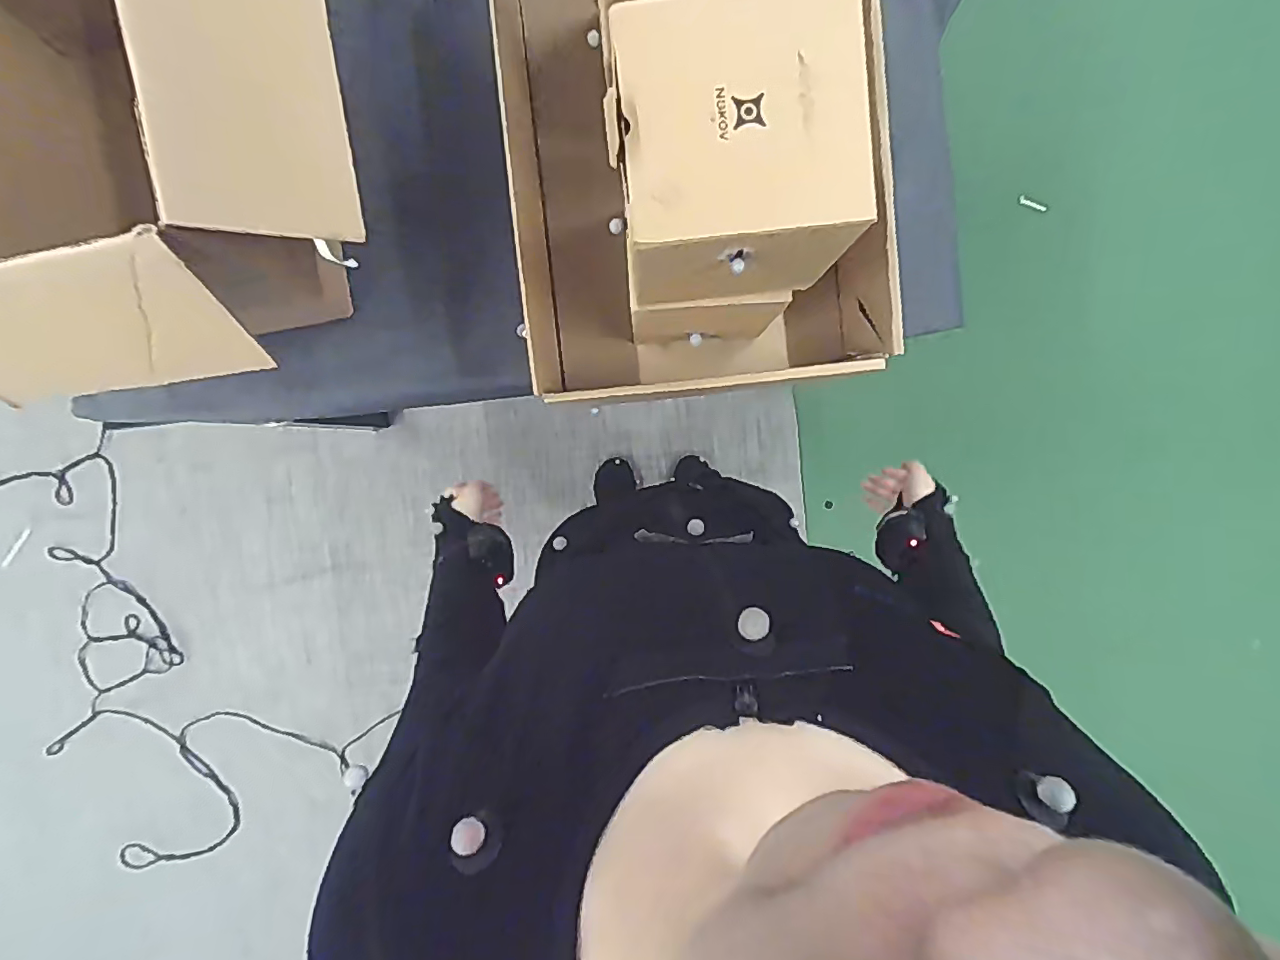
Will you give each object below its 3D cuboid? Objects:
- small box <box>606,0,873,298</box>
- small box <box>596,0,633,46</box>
[{"bbox_3d":[0.072,-0.262,0.457,0.179,0.176,0.168,-6,94,1],"label":"small box"},{"bbox_3d":[0.040,-0.493,0.441,0.179,0.176,0.168,-7,96,0],"label":"small box"}]
